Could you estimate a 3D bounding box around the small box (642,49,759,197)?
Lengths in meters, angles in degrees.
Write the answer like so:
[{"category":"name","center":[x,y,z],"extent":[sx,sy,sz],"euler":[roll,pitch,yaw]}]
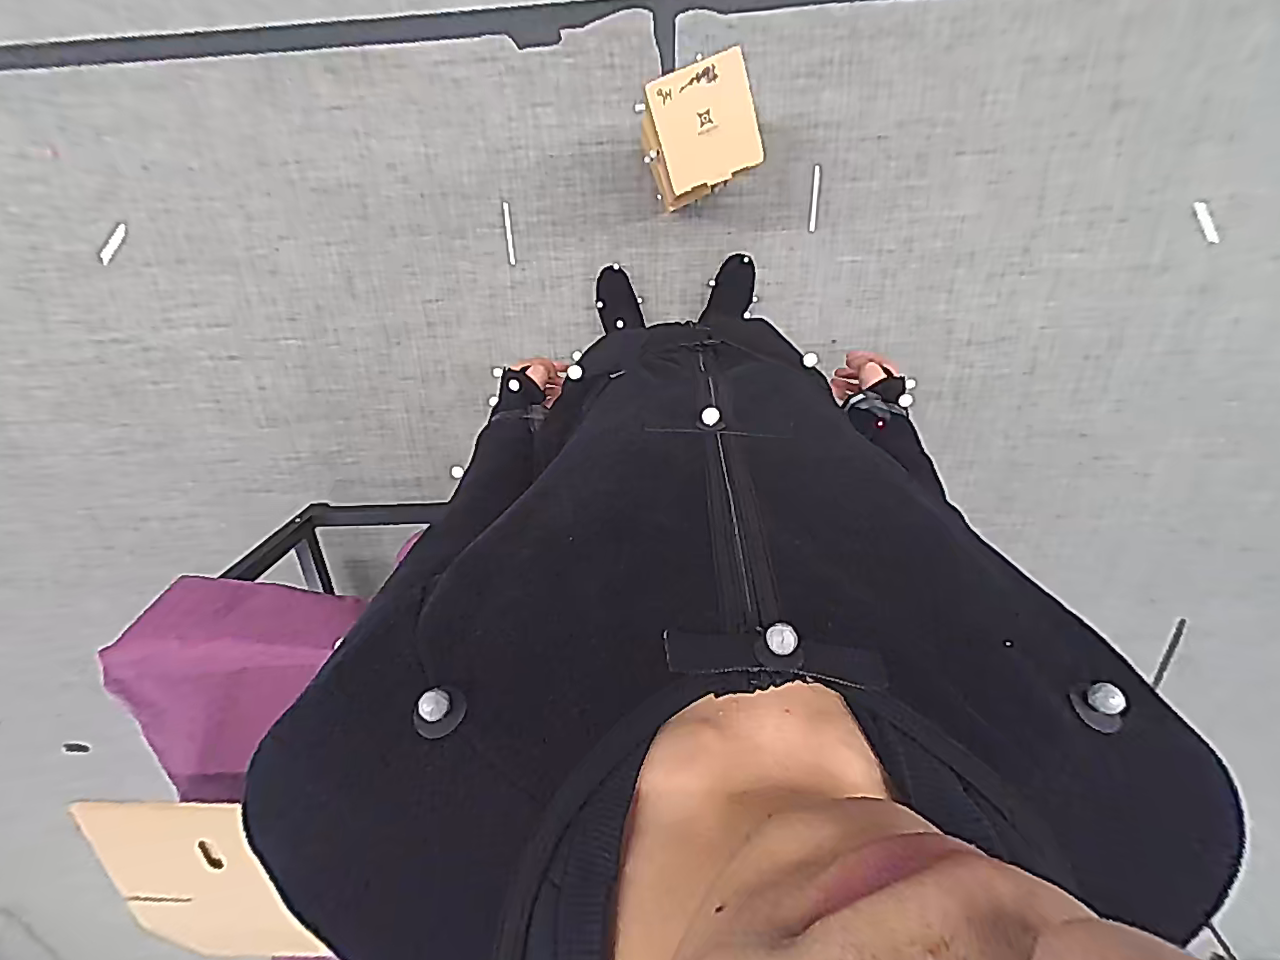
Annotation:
[{"category":"small box","center":[0.108,-0.637,0.989],"extent":[0.168,0.176,0.179],"euler":[-17,114,8]}]
